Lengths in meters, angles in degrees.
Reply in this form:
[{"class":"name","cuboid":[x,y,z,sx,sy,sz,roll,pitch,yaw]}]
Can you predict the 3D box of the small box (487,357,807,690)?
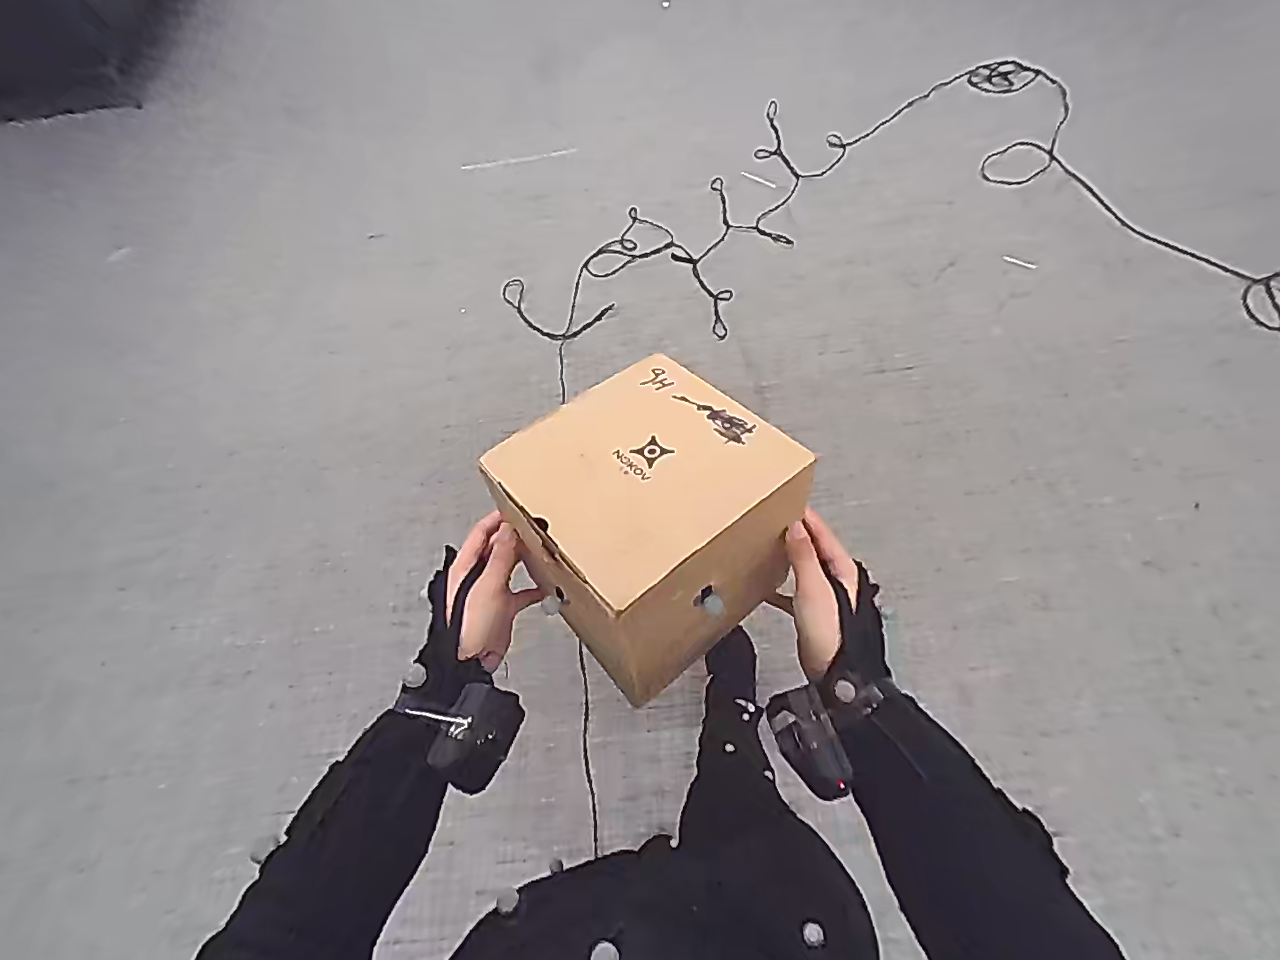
[{"class":"small box","cuboid":[0.010,0.037,0.446,0.179,0.176,0.168,-35,55,-21]}]
